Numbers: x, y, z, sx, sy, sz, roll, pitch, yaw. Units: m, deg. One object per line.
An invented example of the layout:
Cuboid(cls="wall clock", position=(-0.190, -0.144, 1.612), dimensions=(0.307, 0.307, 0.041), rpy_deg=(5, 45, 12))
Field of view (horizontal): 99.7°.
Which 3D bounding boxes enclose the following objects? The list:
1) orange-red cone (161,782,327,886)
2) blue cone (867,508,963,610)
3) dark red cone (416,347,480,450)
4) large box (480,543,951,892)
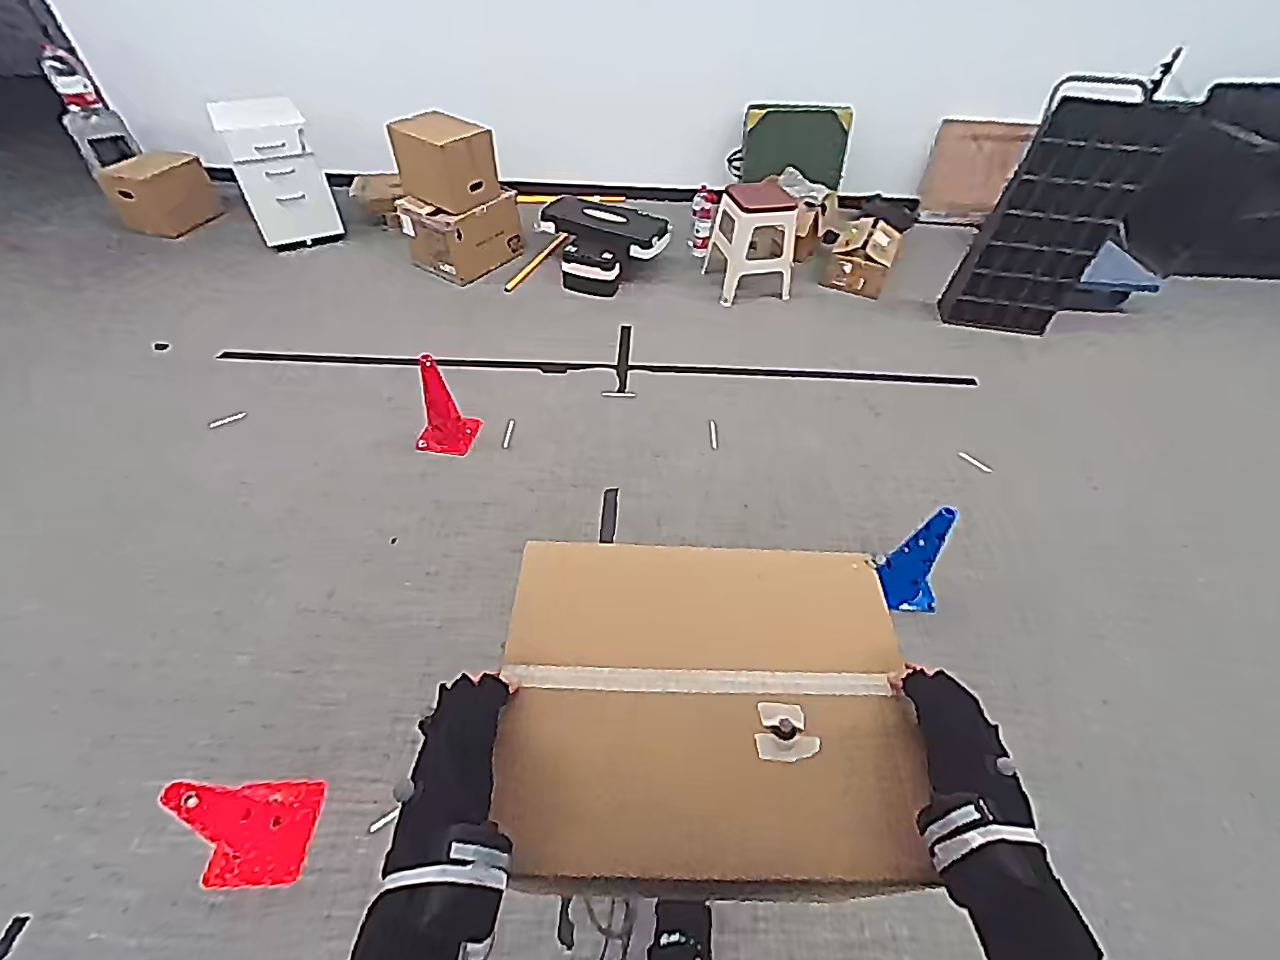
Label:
Cuboid(cls="orange-red cone", position=(-0.820, 0.672, 1.078), dimensions=(0.198, 0.360, 0.199), rpy_deg=(0, 49, -1))
Cuboid(cls="blue cone", position=(0.832, 0.213, 1.589), dimensions=(0.192, 0.380, 0.193), rpy_deg=(5, 48, 1))
Cuboid(cls="dark red cone", position=(-0.719, -0.299, 1.937), dimensions=(0.201, 0.394, 0.202), rpy_deg=(7, 48, 3))
Cuboid(cls="large box", position=(0.057, 0.291, 0.653), dimensions=(0.408, 0.320, 0.320), rpy_deg=(2, 50, -2))
